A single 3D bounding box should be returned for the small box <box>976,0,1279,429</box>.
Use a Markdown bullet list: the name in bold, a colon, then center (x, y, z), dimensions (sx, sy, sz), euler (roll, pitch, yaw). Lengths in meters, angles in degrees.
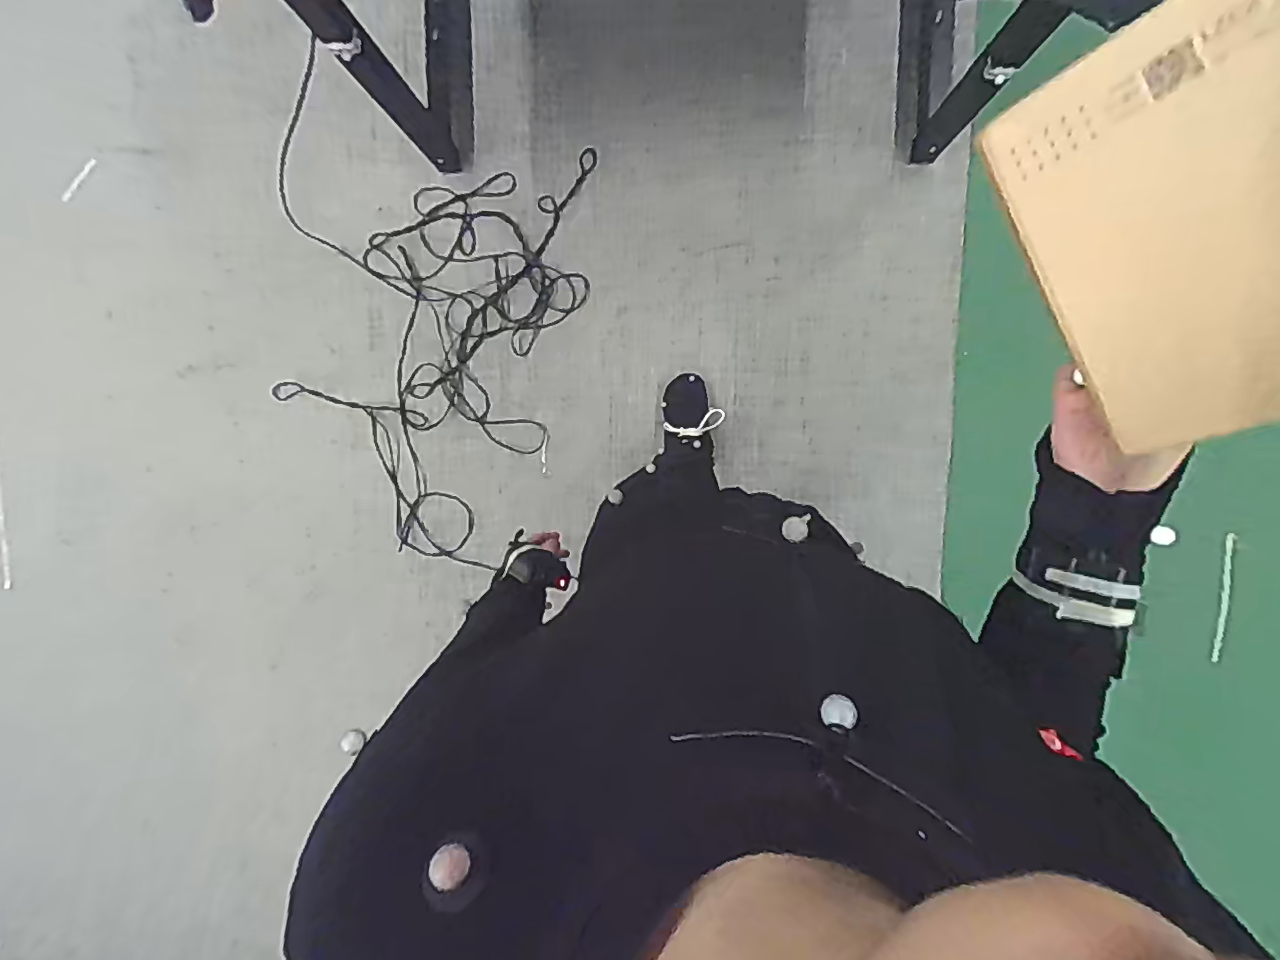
- **small box**: center (0.286, -0.144, 0.248), dimensions (0.168, 0.179, 0.176), euler (-26, 86, 44)
